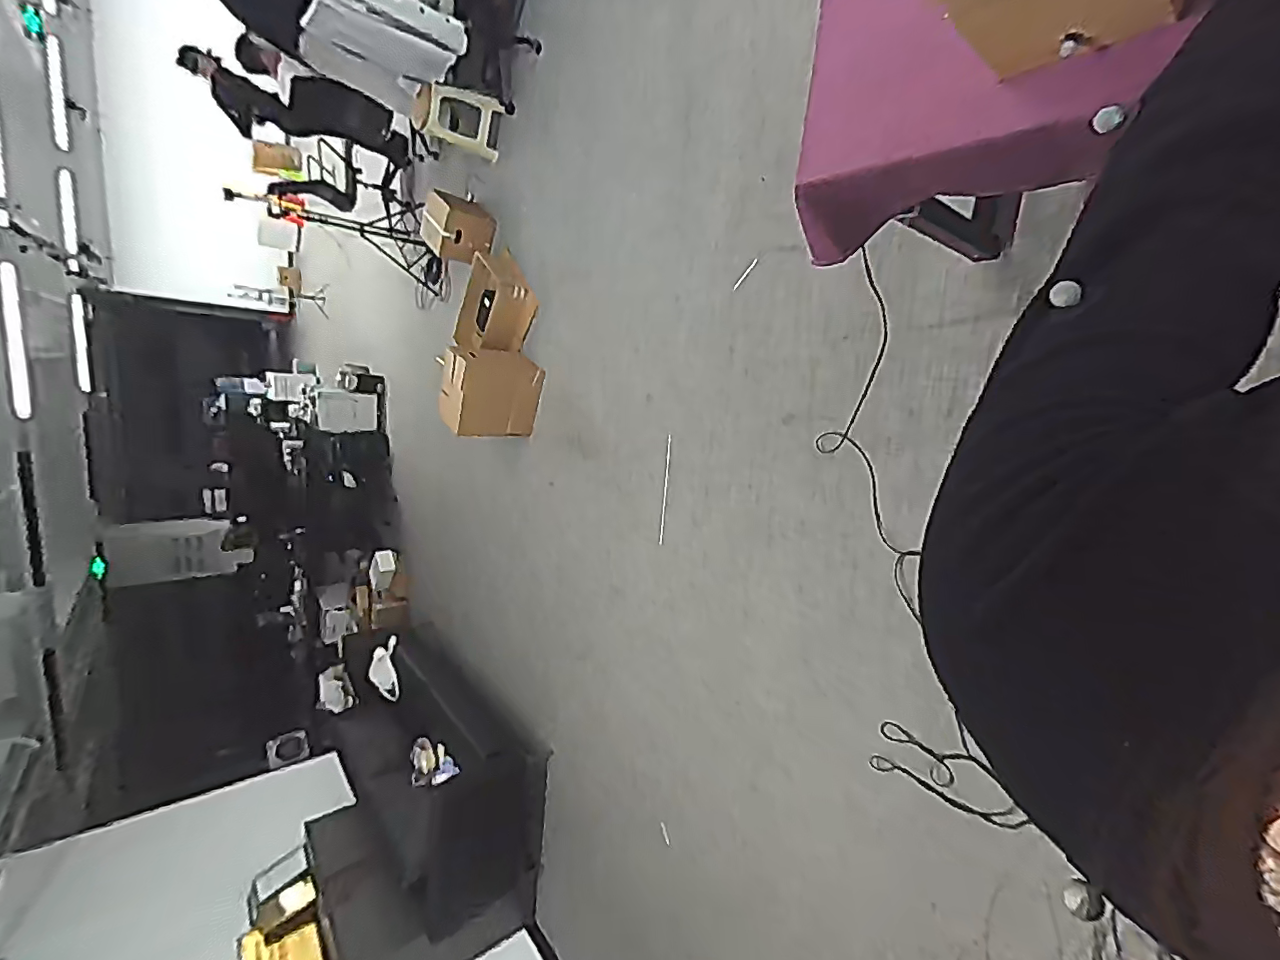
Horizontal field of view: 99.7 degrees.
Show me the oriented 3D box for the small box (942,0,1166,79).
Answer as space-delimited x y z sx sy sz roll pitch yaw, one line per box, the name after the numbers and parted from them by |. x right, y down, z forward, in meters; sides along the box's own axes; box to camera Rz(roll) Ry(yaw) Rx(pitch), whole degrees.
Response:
0.461 -0.580 0.580 0.179 0.176 0.168 15 104 48 | small box
